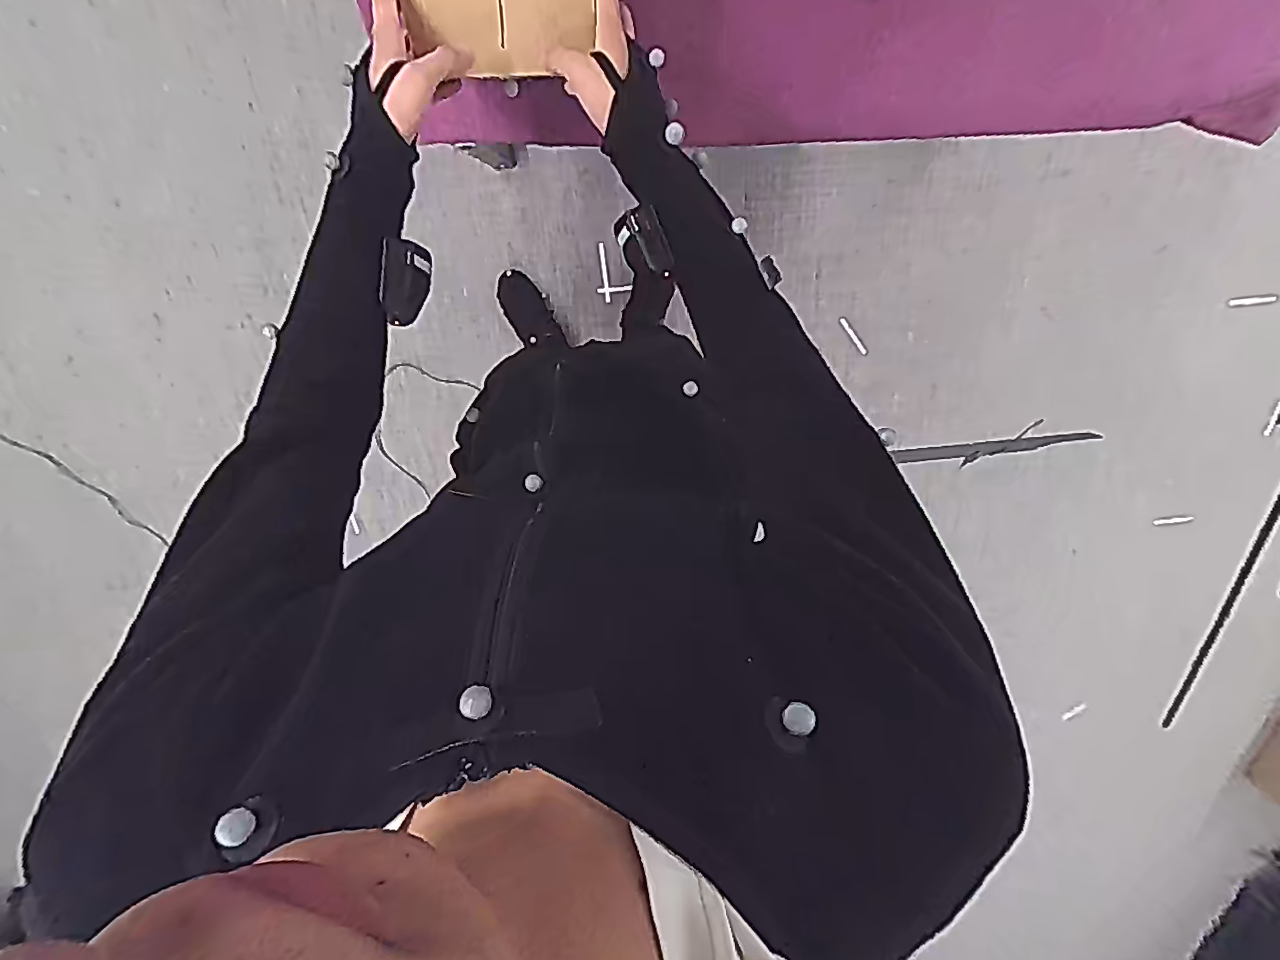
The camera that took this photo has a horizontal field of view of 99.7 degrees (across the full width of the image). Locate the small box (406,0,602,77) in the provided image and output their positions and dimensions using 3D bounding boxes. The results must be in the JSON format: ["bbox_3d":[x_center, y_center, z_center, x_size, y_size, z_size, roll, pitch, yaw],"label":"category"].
[{"bbox_3d":[-0.127,-0.486,0.502,0.168,0.176,0.179,-5,128,-5],"label":"small box"}]
